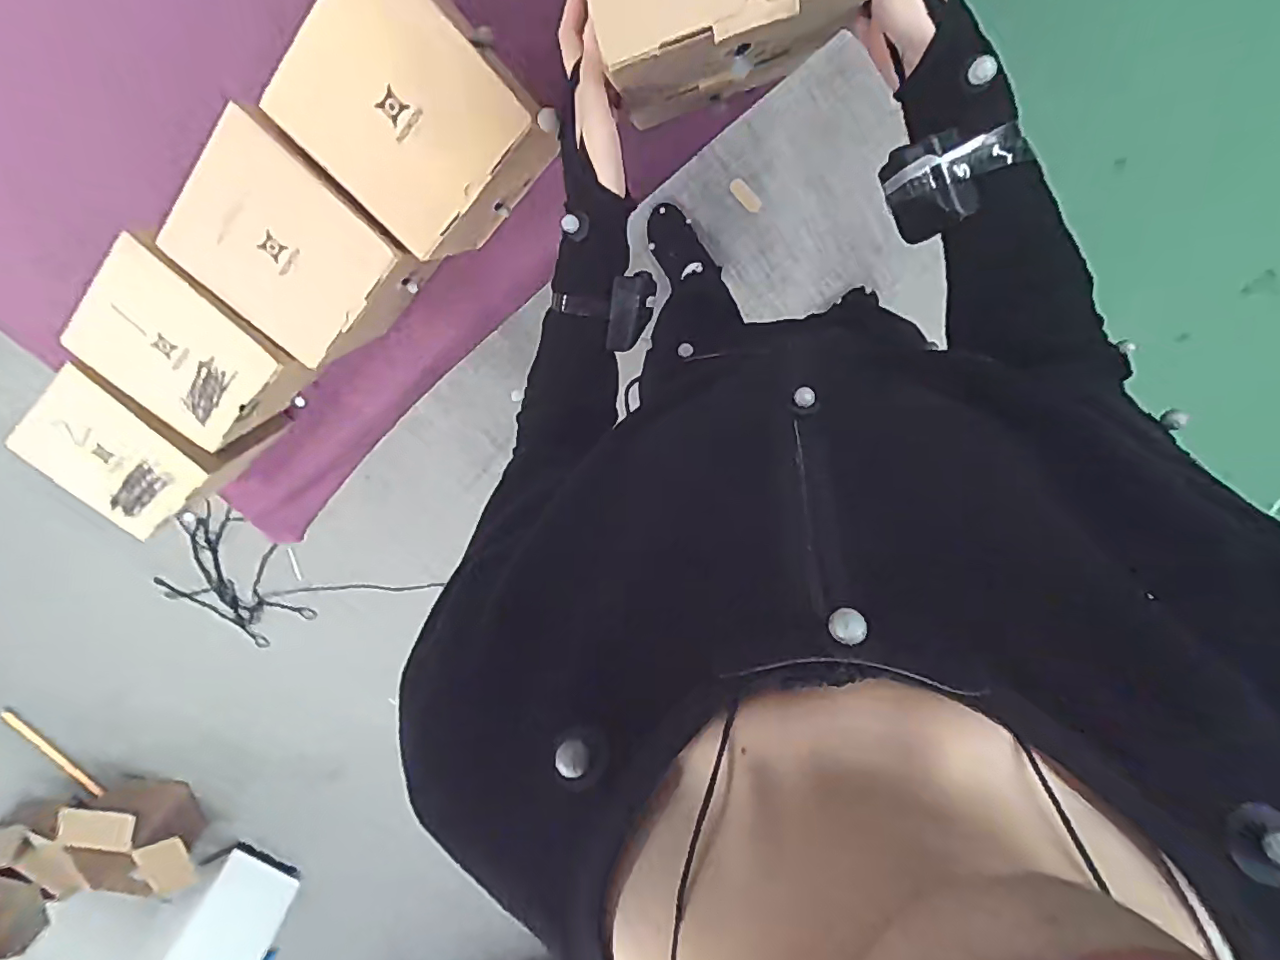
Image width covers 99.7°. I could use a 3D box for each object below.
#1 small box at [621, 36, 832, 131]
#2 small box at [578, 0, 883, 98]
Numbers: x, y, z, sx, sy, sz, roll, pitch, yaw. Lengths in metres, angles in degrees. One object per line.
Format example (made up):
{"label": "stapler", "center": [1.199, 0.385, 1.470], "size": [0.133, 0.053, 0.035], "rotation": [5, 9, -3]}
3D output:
{"label": "small box", "center": [0.049, -0.420, 0.453], "size": [0.168, 0.176, 0.179], "rotation": [-12, 118, 12]}
{"label": "small box", "center": [0.040, -0.342, 0.308], "size": [0.168, 0.176, 0.179], "rotation": [-12, 119, 11]}
